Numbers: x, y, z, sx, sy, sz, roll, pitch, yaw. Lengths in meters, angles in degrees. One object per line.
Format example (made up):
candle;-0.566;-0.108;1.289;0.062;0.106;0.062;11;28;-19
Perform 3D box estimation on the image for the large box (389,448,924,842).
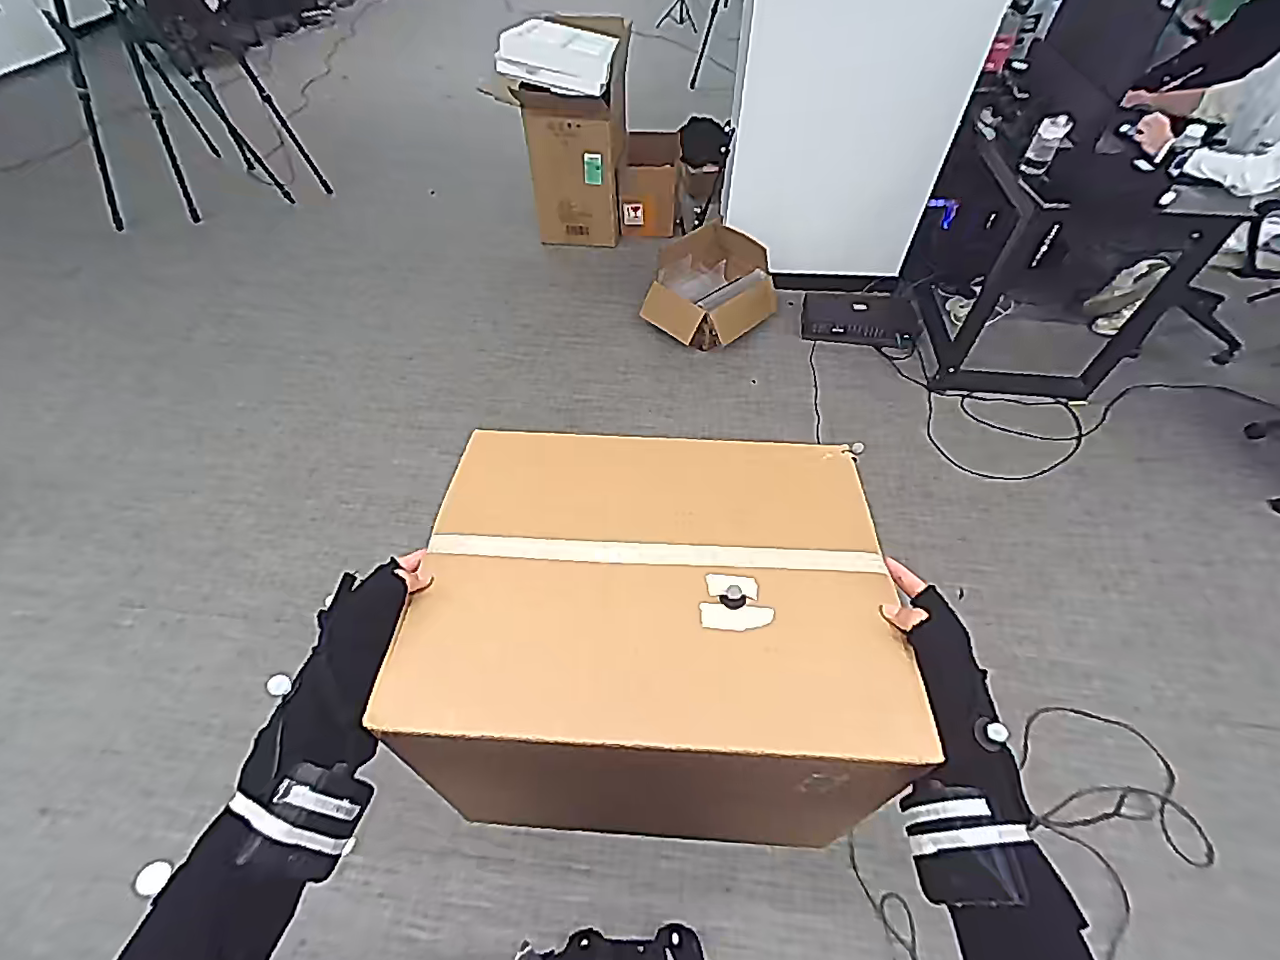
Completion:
large box;0.014;0.184;0.603;0.408;0.320;0.320;3;47;2
